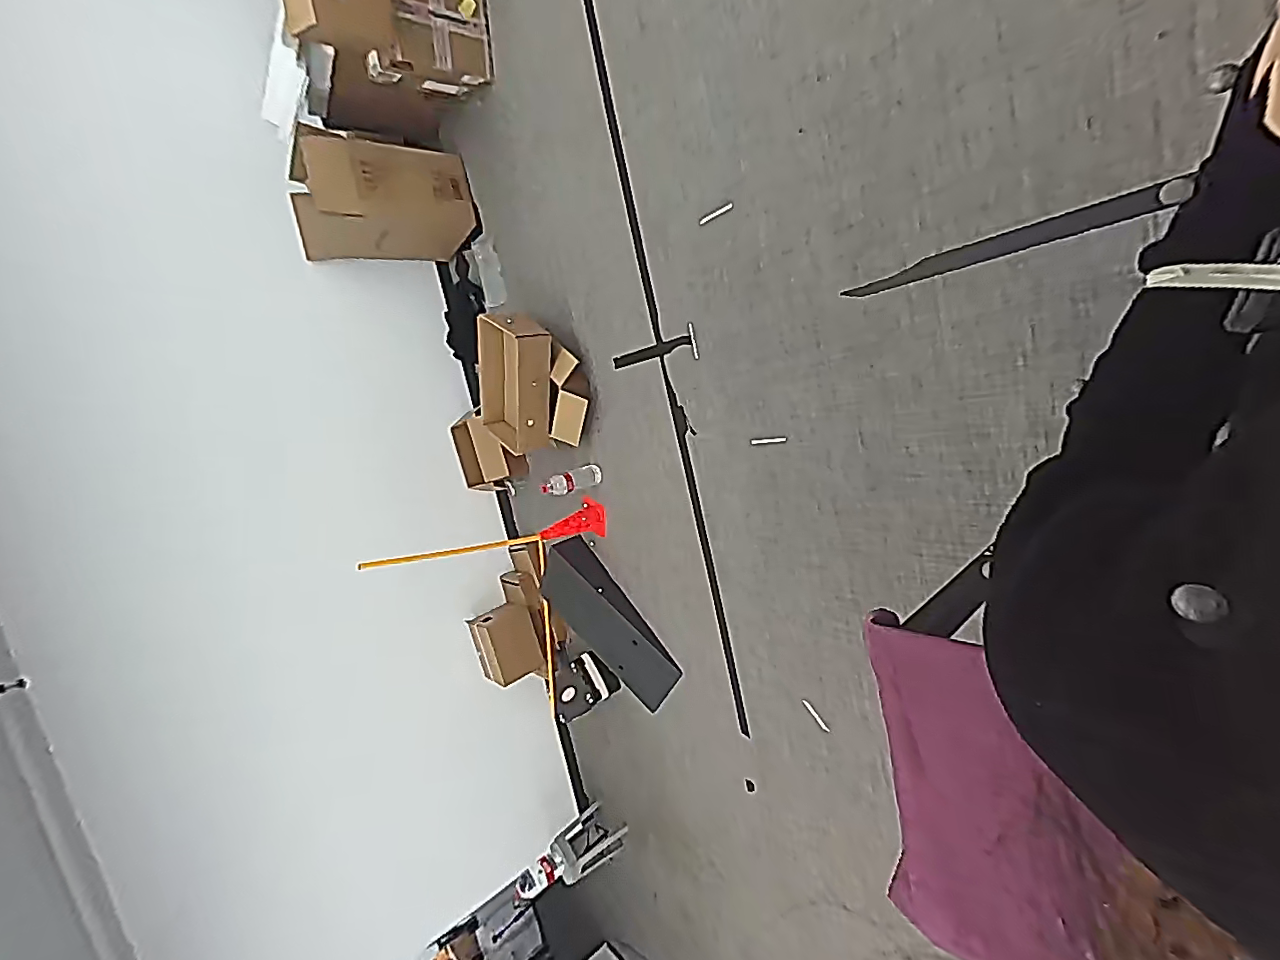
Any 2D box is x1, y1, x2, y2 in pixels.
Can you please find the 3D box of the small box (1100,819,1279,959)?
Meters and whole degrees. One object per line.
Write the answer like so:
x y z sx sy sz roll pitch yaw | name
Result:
0.646 0.518 0.592 0.179 0.176 0.168 -4 103 53 | small box
